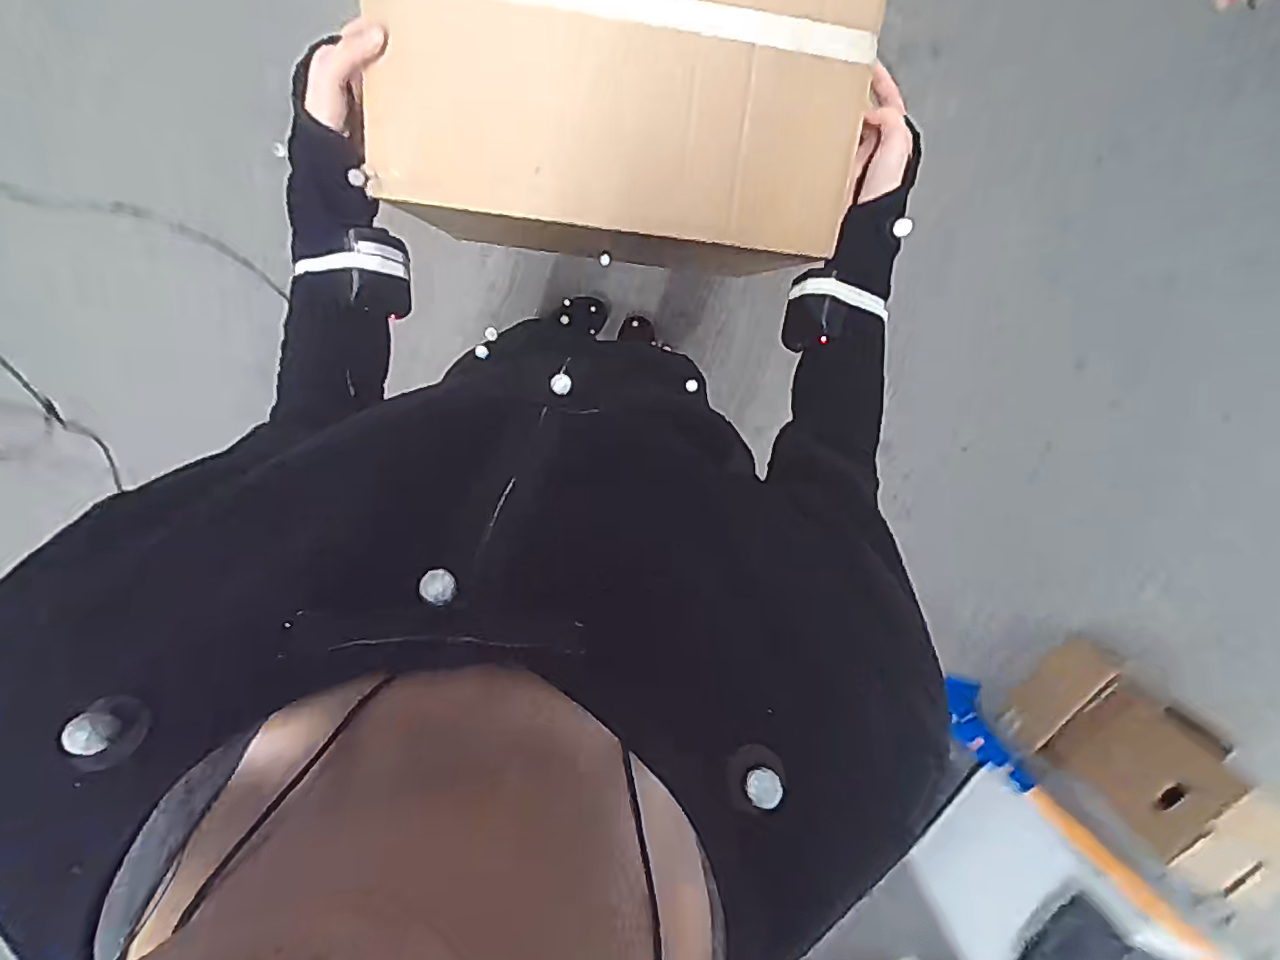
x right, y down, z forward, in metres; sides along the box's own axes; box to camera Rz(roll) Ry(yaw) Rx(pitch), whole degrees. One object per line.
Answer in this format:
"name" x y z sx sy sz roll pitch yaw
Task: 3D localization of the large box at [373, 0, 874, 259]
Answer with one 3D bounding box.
"large box" -0.018 -0.421 0.572 0.408 0.320 0.320 4 107 -6
